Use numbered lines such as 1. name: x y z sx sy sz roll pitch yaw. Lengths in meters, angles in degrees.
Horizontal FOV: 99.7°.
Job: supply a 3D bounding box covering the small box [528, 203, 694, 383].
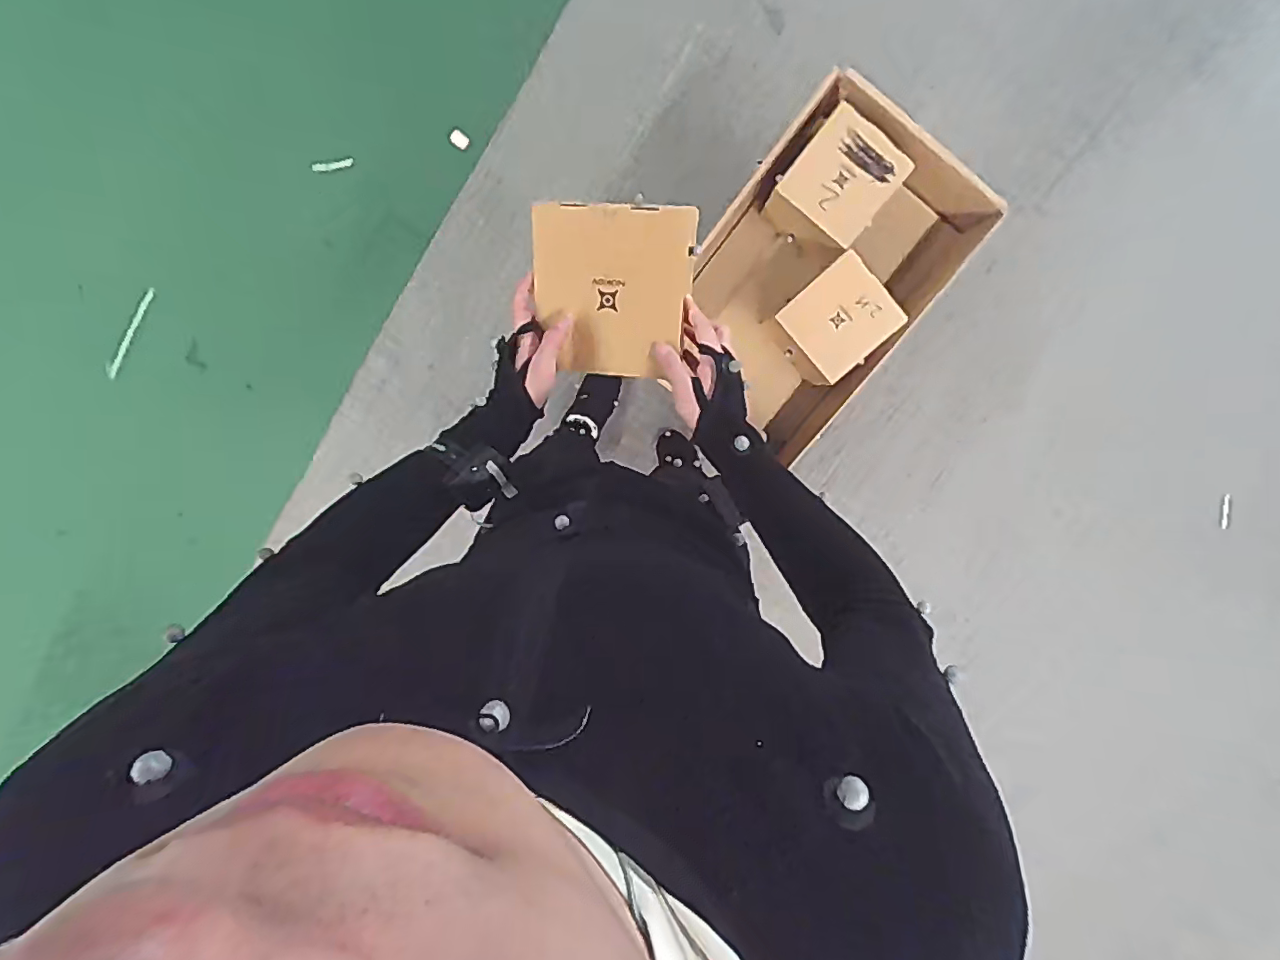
1. small box: -0.026 -0.229 0.645 0.168 0.176 0.179 5 117 5
